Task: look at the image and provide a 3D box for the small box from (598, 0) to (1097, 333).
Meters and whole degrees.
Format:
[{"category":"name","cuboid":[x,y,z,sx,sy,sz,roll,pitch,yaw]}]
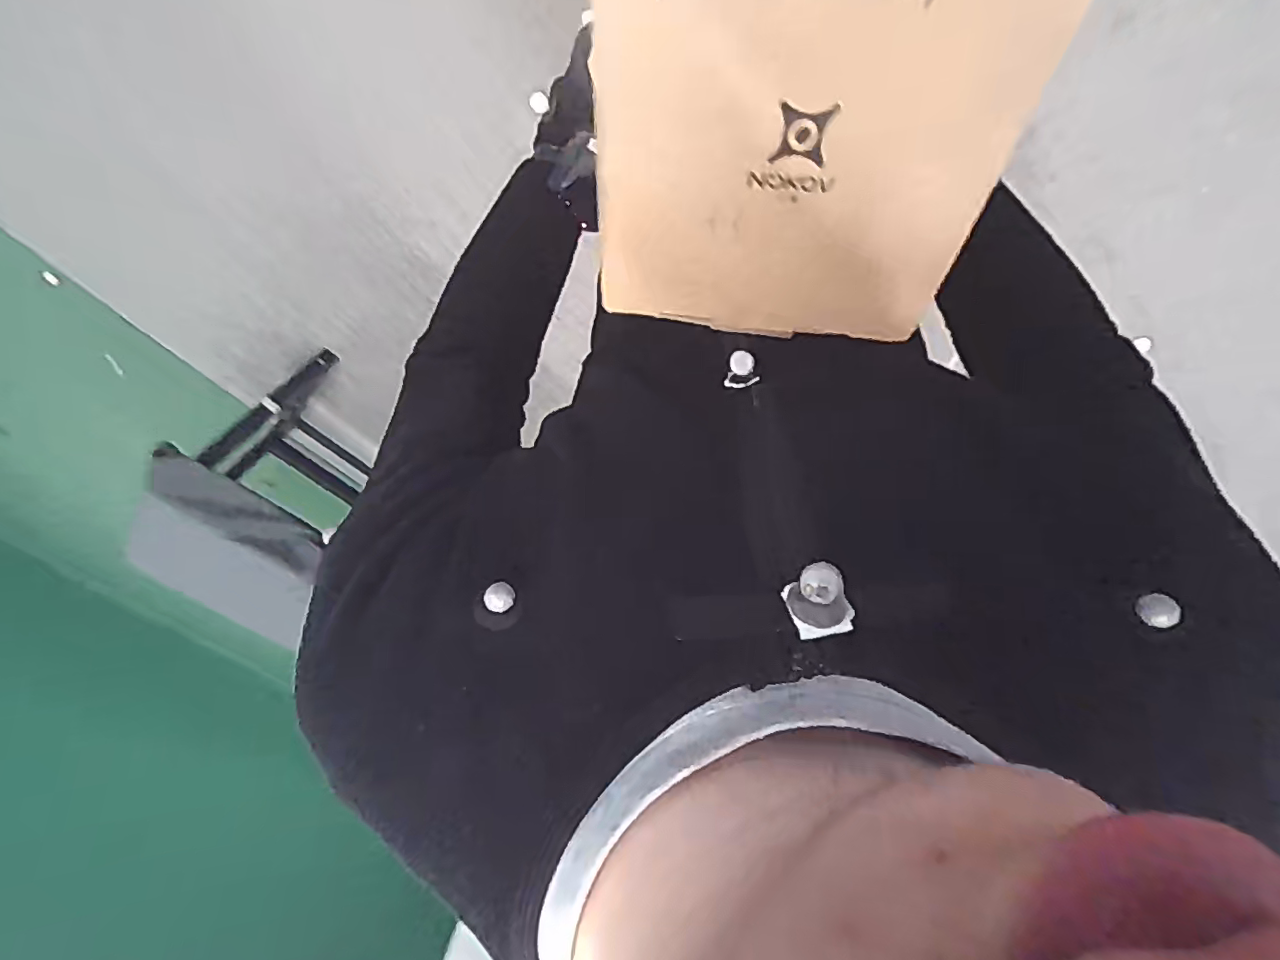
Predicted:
[{"category":"small box","cuboid":[0.074,-0.203,0.266,0.168,0.176,0.179,7,147,2]}]
